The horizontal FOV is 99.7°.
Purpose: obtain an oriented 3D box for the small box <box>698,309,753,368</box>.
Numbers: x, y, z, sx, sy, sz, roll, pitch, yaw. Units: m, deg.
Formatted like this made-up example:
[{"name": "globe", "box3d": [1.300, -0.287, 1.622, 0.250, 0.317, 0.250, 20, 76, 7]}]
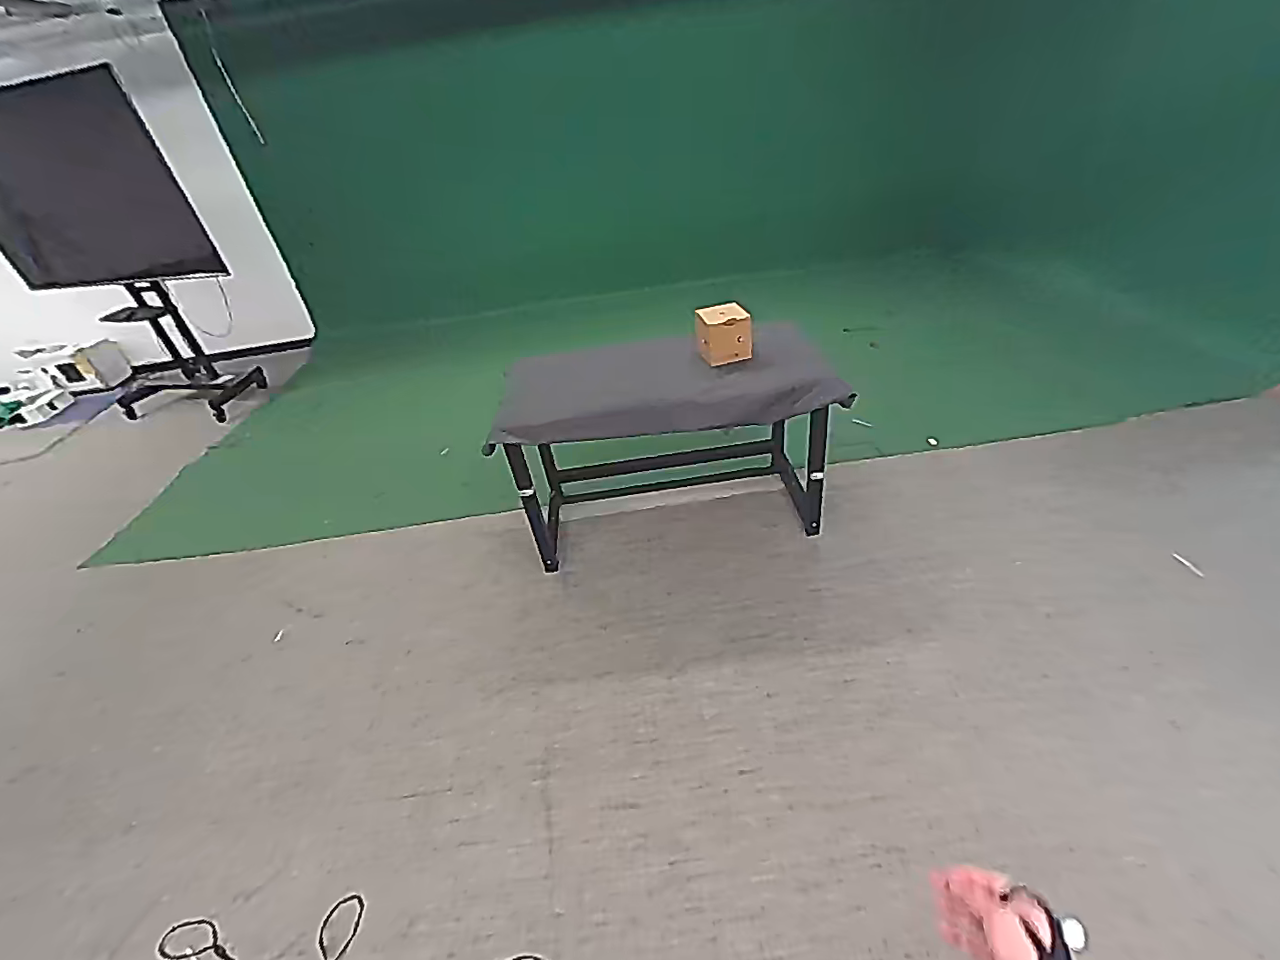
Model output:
[{"name": "small box", "box3d": [0.331, -0.543, 2.088, 0.168, 0.176, 0.179, -12, 34, -7]}]
